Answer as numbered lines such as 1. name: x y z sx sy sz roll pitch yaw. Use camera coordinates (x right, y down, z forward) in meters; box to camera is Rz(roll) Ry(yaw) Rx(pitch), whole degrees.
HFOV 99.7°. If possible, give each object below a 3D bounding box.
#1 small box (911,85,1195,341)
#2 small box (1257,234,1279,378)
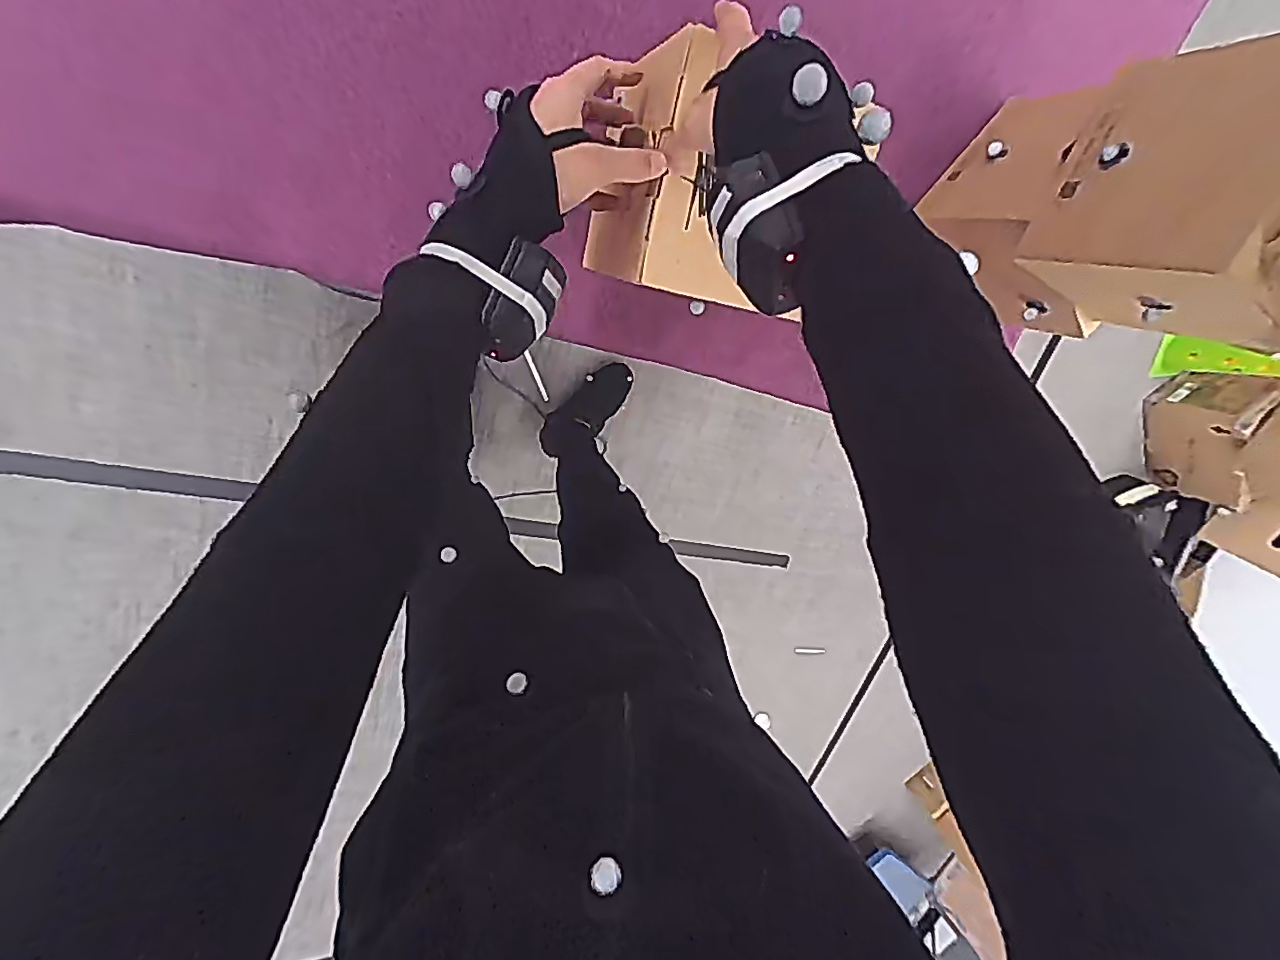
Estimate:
1. small box: 0.451 -0.289 0.606 0.179 0.176 0.168 38 97 -31
2. small box: 0.555 -0.148 0.328 0.168 0.176 0.179 33 101 -29
